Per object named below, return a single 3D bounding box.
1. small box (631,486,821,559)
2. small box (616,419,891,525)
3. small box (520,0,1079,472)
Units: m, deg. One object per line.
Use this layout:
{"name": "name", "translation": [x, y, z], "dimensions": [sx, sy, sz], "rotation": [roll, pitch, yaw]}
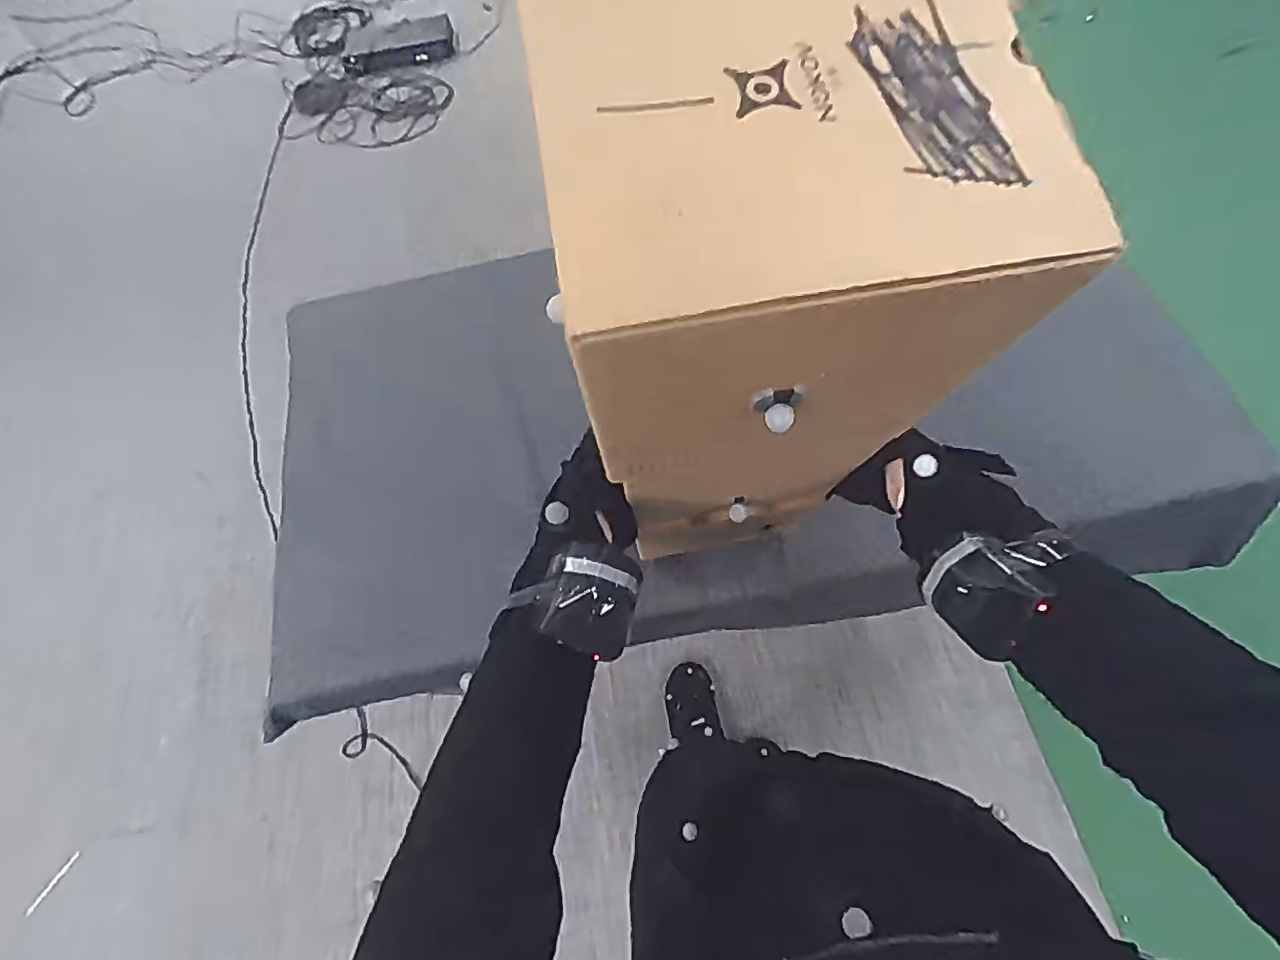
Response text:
{"name": "small box", "translation": [0.069, -0.018, 0.585], "dimensions": [0.179, 0.176, 0.168], "rotation": [-12, 73, 0]}
{"name": "small box", "translation": [0.060, -0.070, 0.429], "dimensions": [0.179, 0.176, 0.168], "rotation": [-10, 72, -1]}
{"name": "small box", "translation": [0.048, -0.112, 0.269], "dimensions": [0.179, 0.176, 0.168], "rotation": [-7, 72, 0]}
